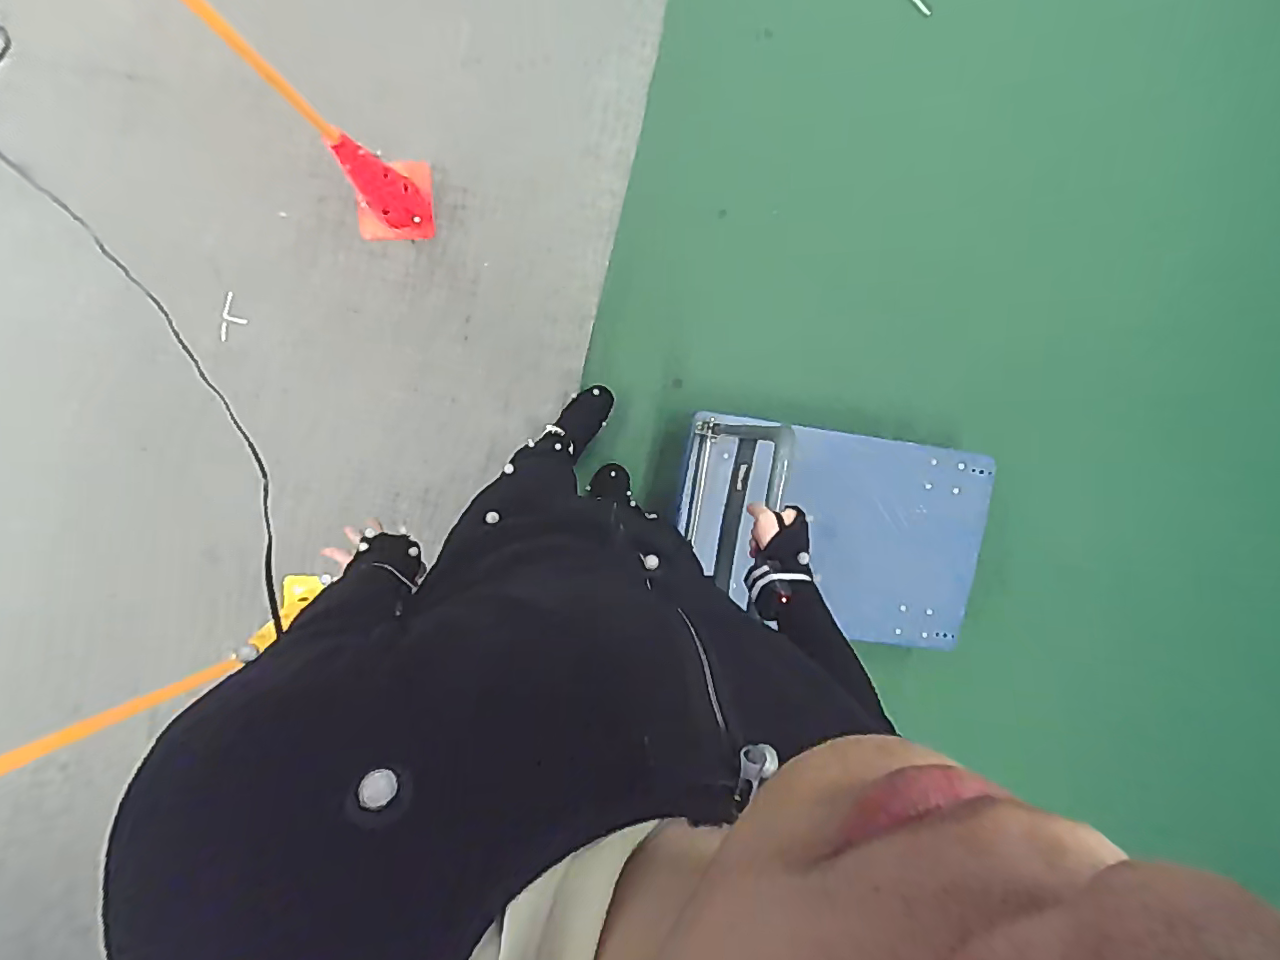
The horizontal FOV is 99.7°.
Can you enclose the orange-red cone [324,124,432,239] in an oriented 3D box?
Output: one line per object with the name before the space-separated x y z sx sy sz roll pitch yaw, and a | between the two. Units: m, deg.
orange-red cone | -0.656 -0.745 1.302 0.198 0.360 0.199 -1 95 -4
